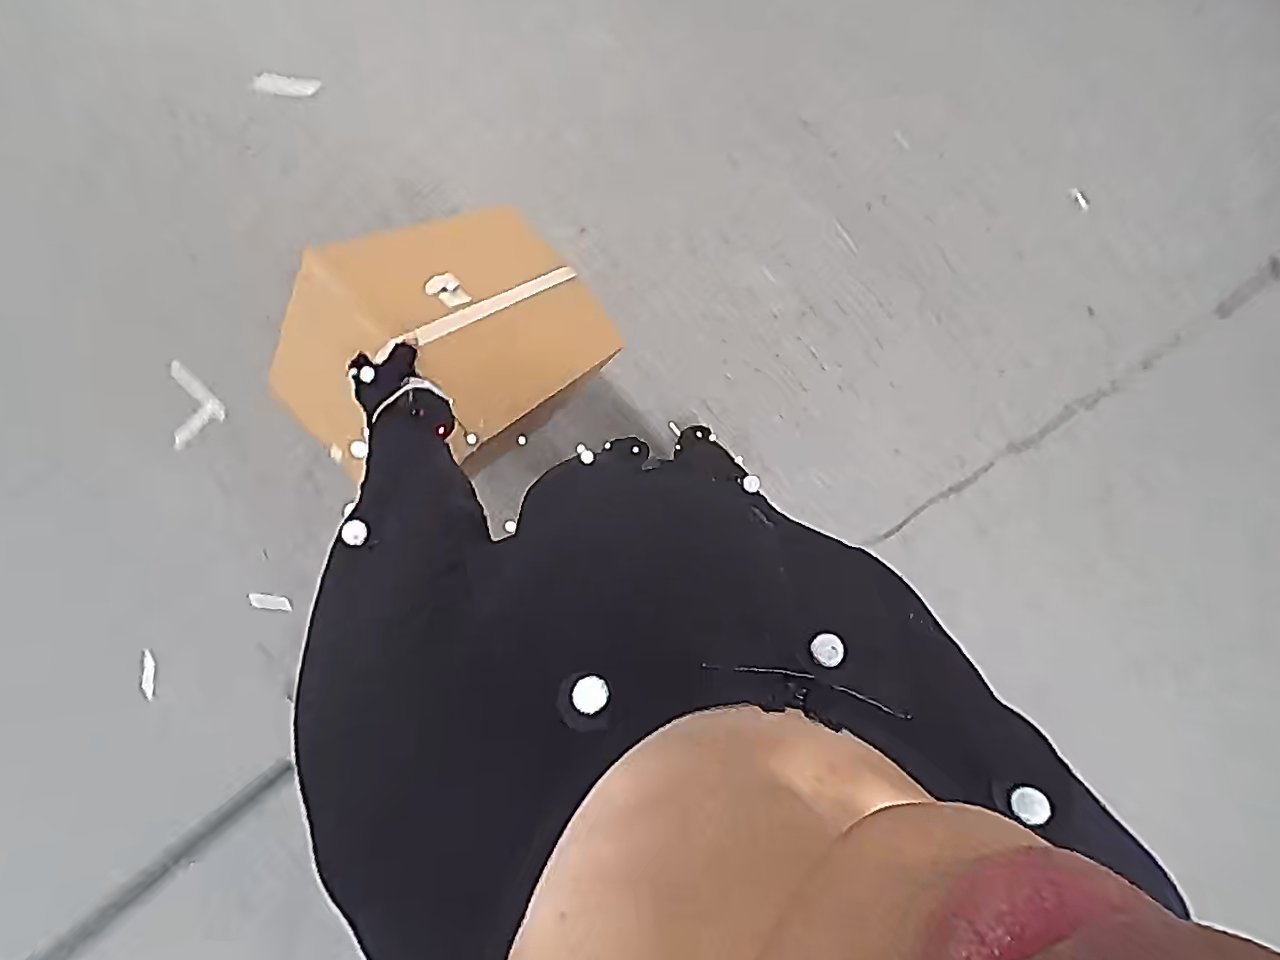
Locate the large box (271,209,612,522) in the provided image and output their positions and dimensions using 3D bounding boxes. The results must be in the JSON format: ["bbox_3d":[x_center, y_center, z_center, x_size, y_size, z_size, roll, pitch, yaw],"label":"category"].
[{"bbox_3d":[-0.326,-0.198,0.932,0.320,0.408,0.320,49,135,-7],"label":"large box"}]
